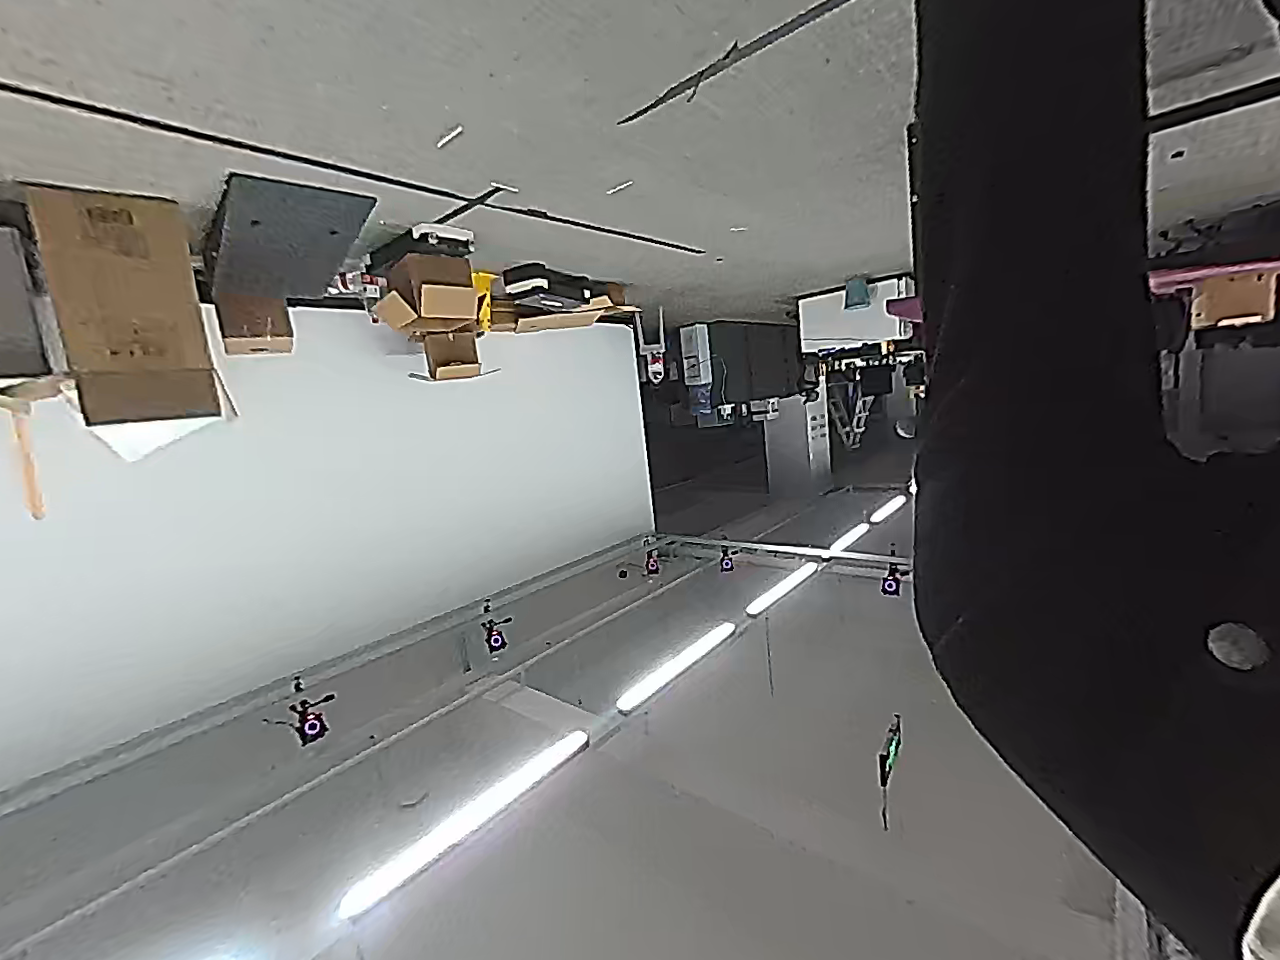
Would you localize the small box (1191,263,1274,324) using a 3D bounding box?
[{"bbox_3d":[2.070,-0.652,1.895,0.168,0.176,0.179,0,-169,34],"label":"small box"}]
